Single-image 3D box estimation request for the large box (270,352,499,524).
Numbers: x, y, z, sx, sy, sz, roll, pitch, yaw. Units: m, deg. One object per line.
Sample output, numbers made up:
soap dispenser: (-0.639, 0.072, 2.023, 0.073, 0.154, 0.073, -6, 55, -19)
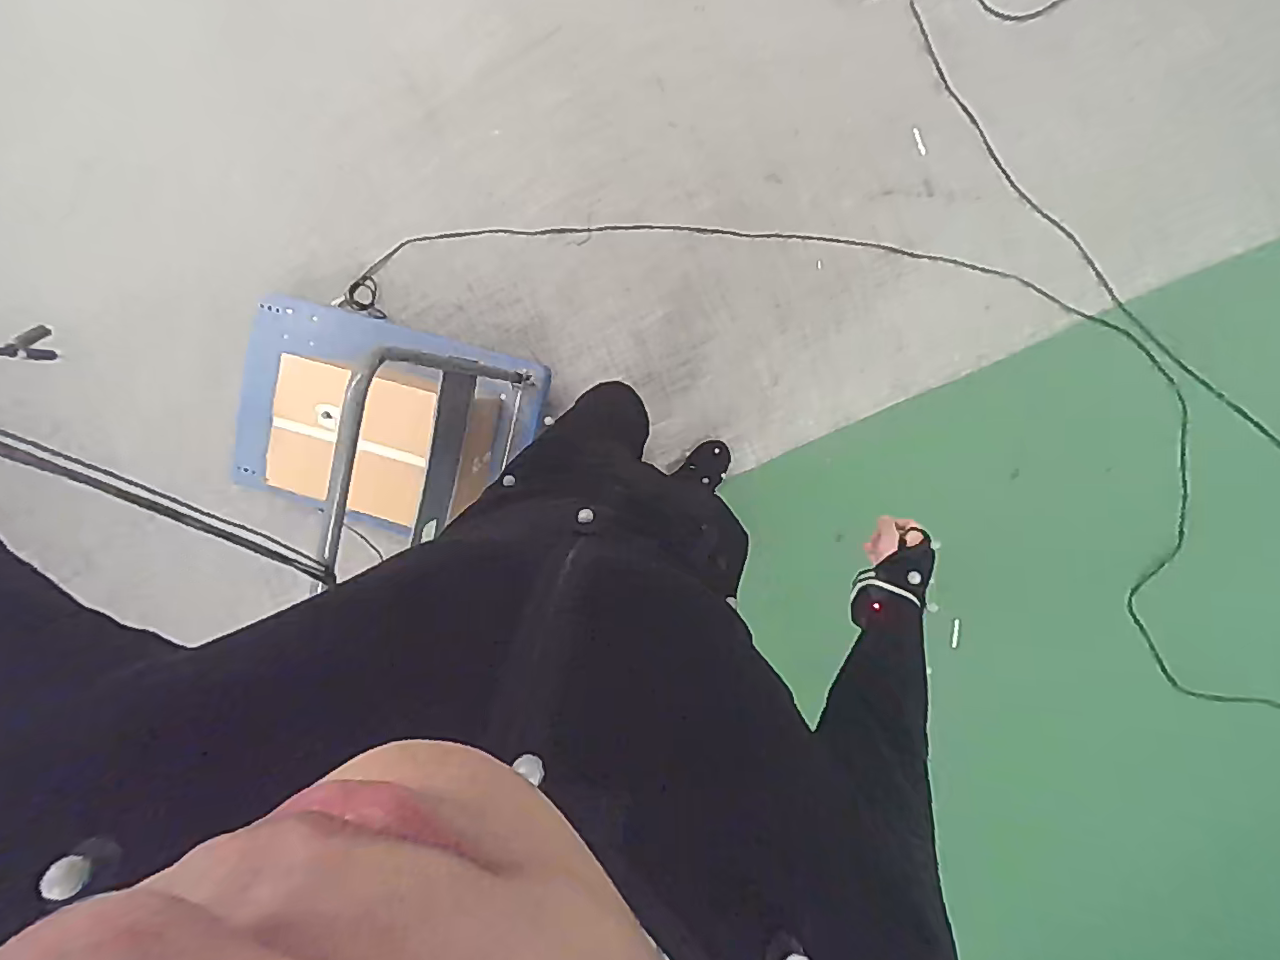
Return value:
large box: (-0.620, -0.116, 1.361, 0.408, 0.320, 0.320, 16, 100, 6)
